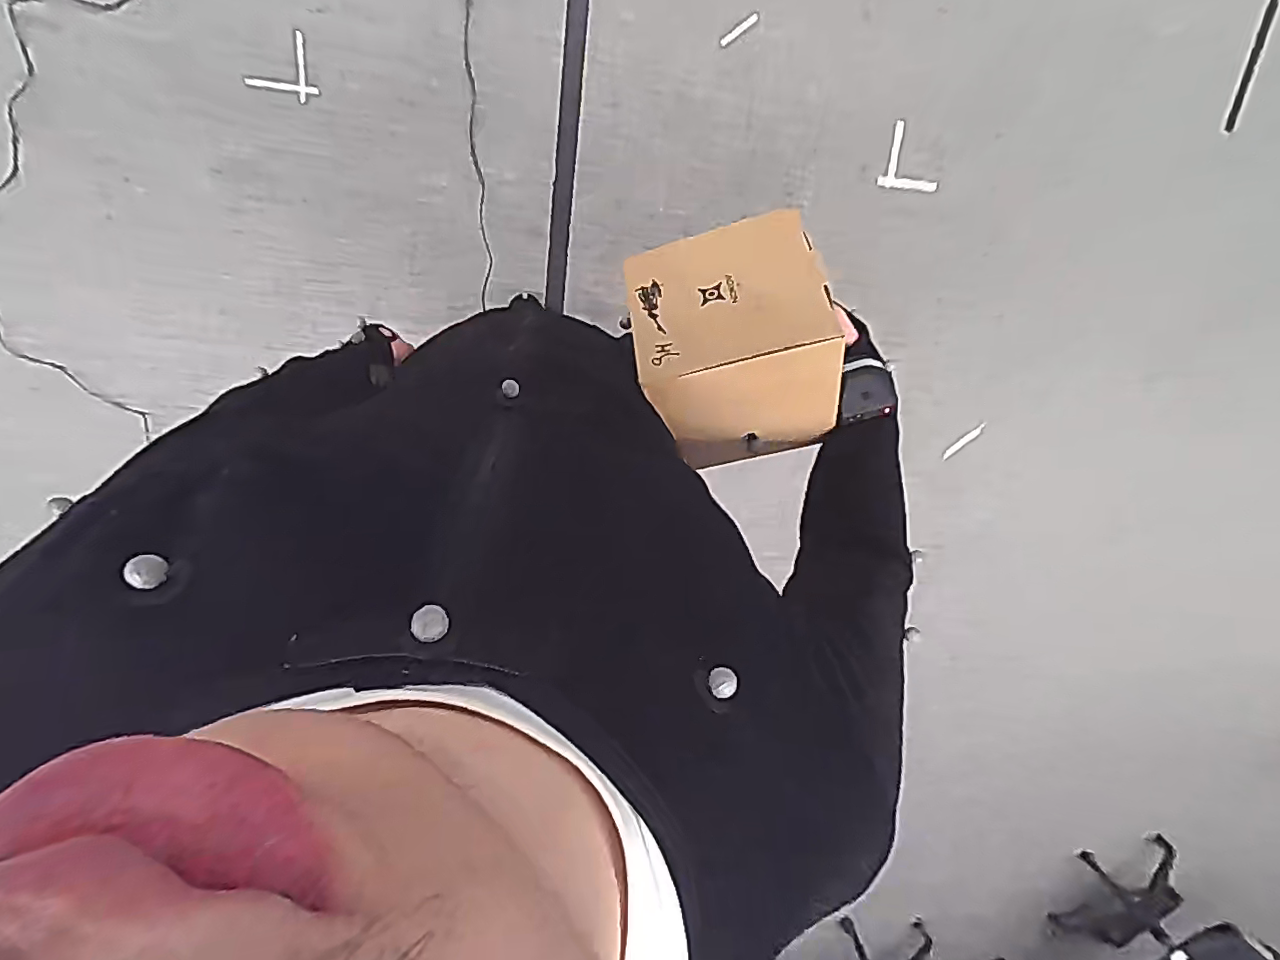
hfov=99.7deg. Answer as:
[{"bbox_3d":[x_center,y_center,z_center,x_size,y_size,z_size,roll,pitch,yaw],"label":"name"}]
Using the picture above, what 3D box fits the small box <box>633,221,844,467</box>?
[{"bbox_3d":[0.102,-0.134,0.580,0.179,0.168,0.176,-12,150,9],"label":"small box"}]
